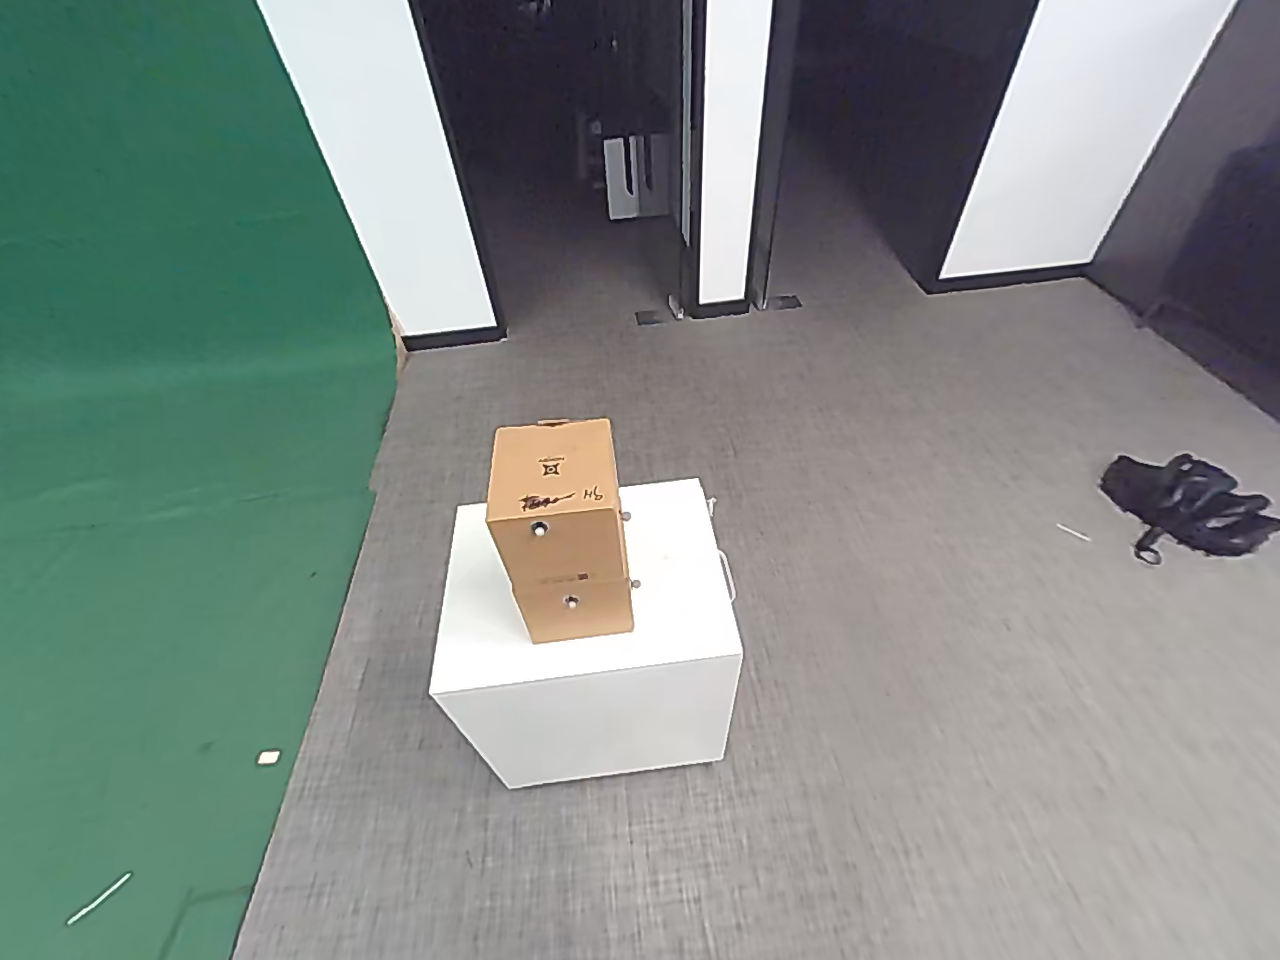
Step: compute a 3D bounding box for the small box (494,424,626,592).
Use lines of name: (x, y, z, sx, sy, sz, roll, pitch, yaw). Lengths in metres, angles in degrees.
small box: (-0.112, 0.041, 0.799, 0.168, 0.176, 0.179, -7, 47, -4)

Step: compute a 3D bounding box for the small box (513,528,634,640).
small box: (-0.107, 0.155, 0.913, 0.179, 0.176, 0.168, -6, 47, -3)
